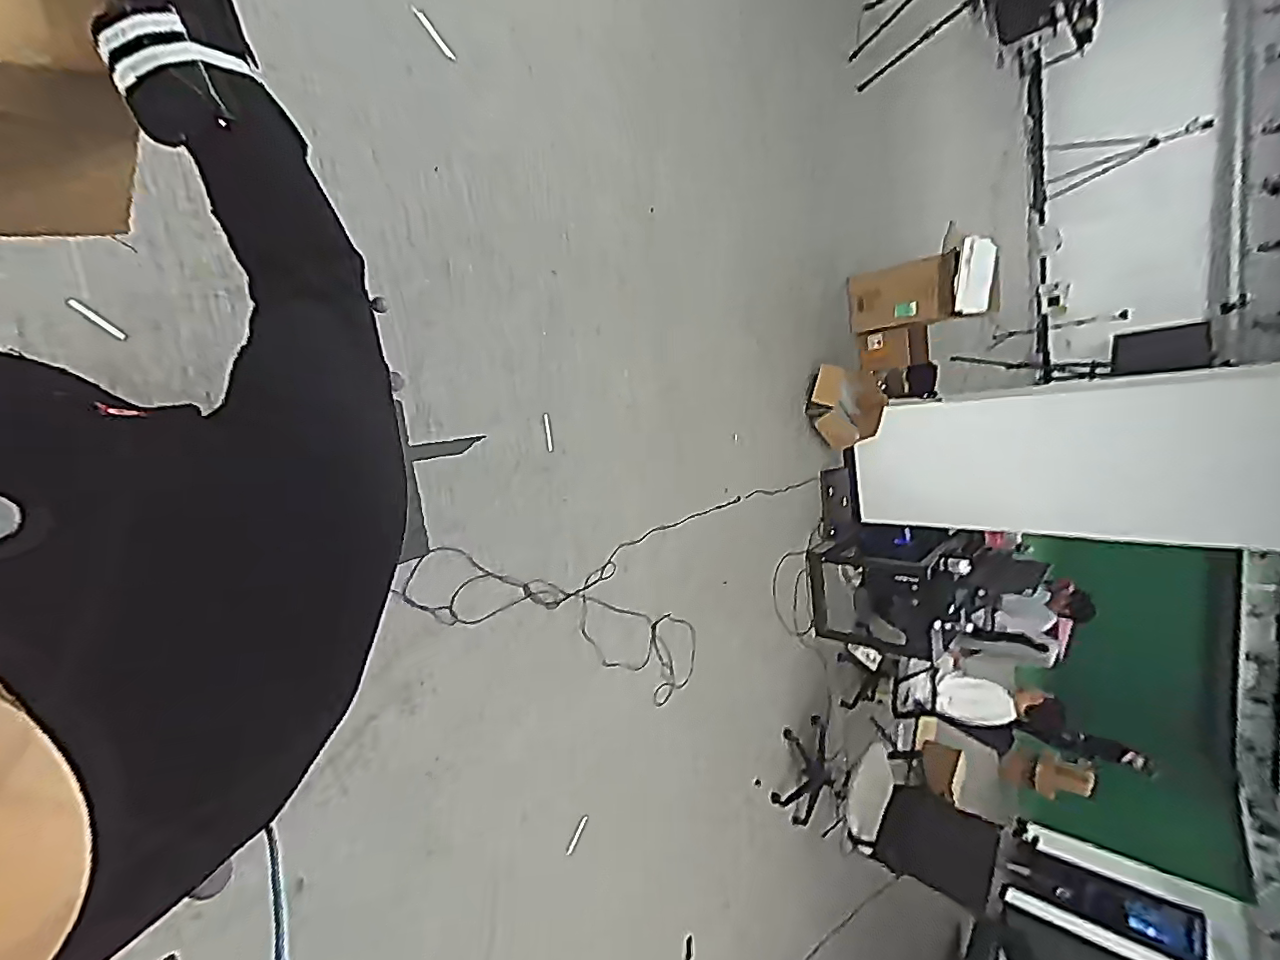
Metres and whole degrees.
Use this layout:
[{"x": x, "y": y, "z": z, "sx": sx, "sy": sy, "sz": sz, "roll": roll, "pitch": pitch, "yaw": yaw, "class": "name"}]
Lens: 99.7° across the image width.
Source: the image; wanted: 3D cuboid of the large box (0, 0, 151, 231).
[{"x": -0.612, "y": -0.352, "z": 0.315, "sx": 0.408, "sy": 0.320, "sz": 0.320, "roll": -26, "pitch": 107, "yaw": -43, "class": "large box"}]

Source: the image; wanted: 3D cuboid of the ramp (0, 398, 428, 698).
[{"x": -0.985, "y": 0.081, "z": 1.280, "sx": 0.991, "sy": 0.206, "sz": 0.509, "roll": -18, "pitch": 102, "yaw": -44, "class": "ramp"}]
